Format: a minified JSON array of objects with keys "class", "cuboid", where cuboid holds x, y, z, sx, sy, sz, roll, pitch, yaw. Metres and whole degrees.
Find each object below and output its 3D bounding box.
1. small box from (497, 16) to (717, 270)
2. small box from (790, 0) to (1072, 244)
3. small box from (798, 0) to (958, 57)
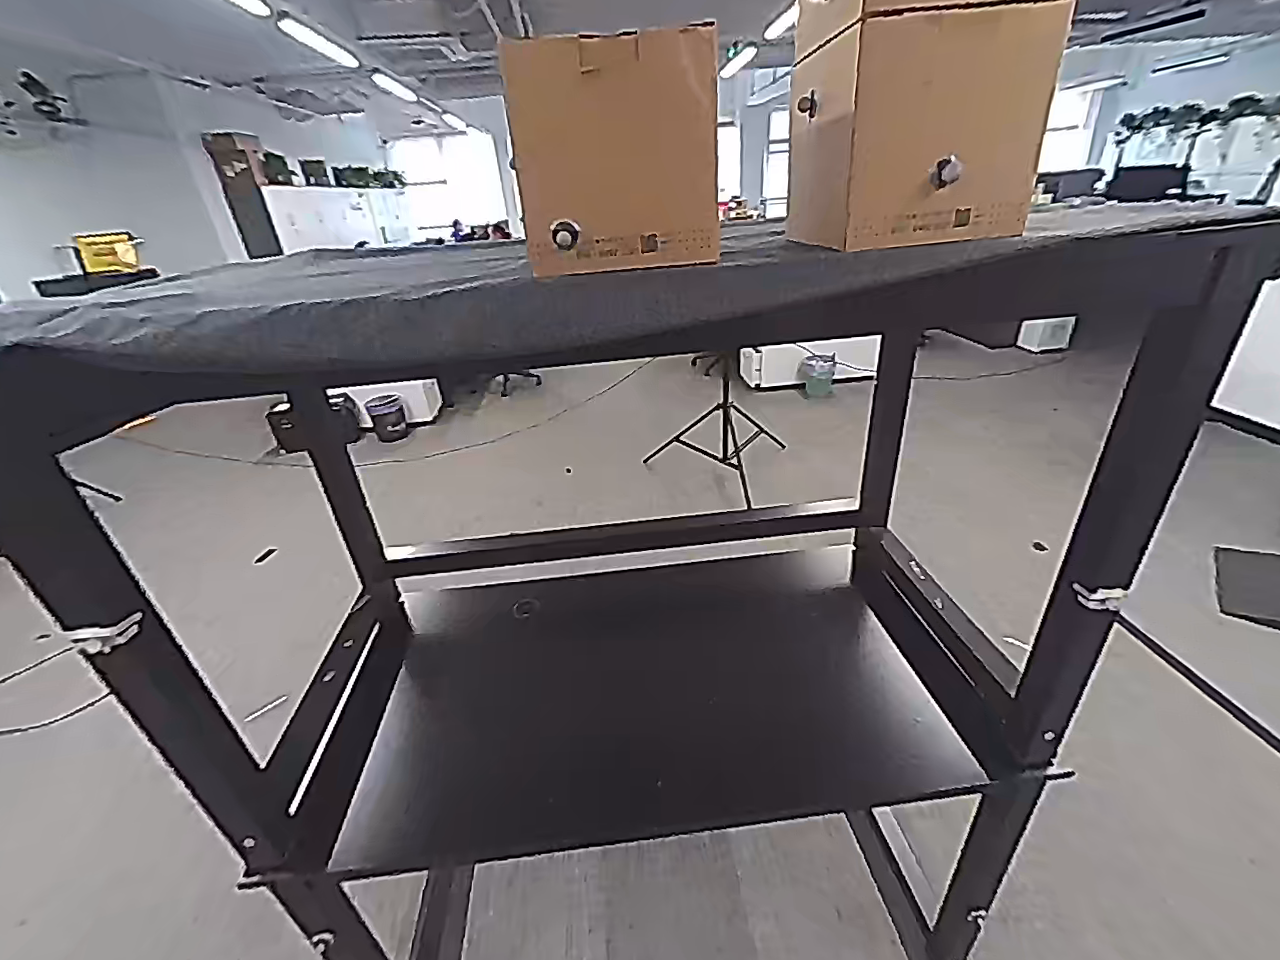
[{"class":"small box","cuboid":[-0.024,-0.294,0.506,0.168,0.176,0.179,-6,26,-3]},{"class":"small box","cuboid":[0.249,-0.325,0.518,0.168,0.176,0.179,-7,27,-1]},{"class":"small box","cuboid":[0.237,-0.470,0.443,0.168,0.176,0.179,-6,28,-1]}]
